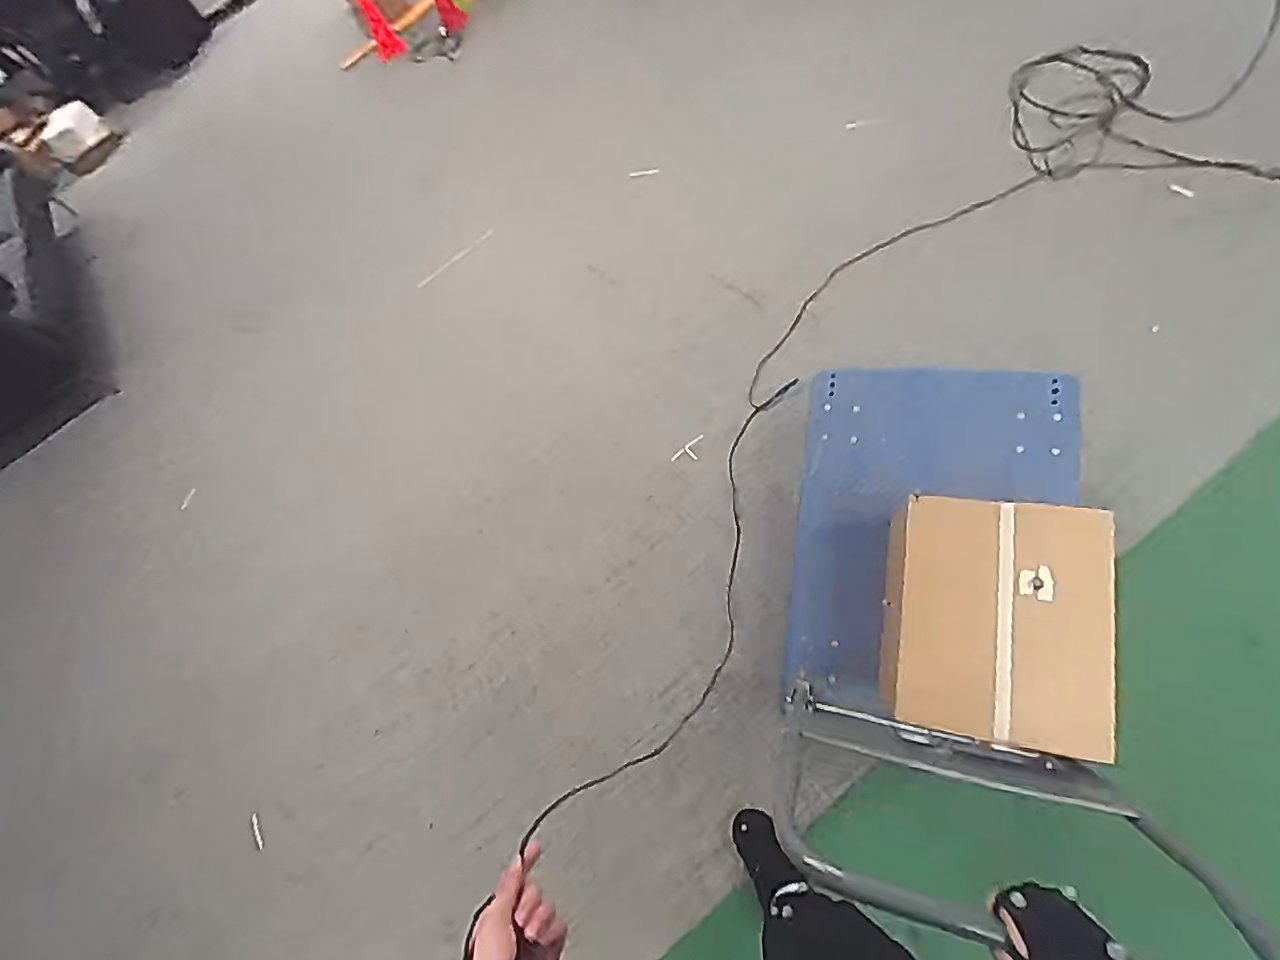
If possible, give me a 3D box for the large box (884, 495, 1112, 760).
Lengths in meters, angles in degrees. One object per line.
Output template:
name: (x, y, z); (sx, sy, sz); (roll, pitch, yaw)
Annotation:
large box: (0.668, 0.267, 1.063); (0.320, 0.320, 0.408); (6, 80, 20)
